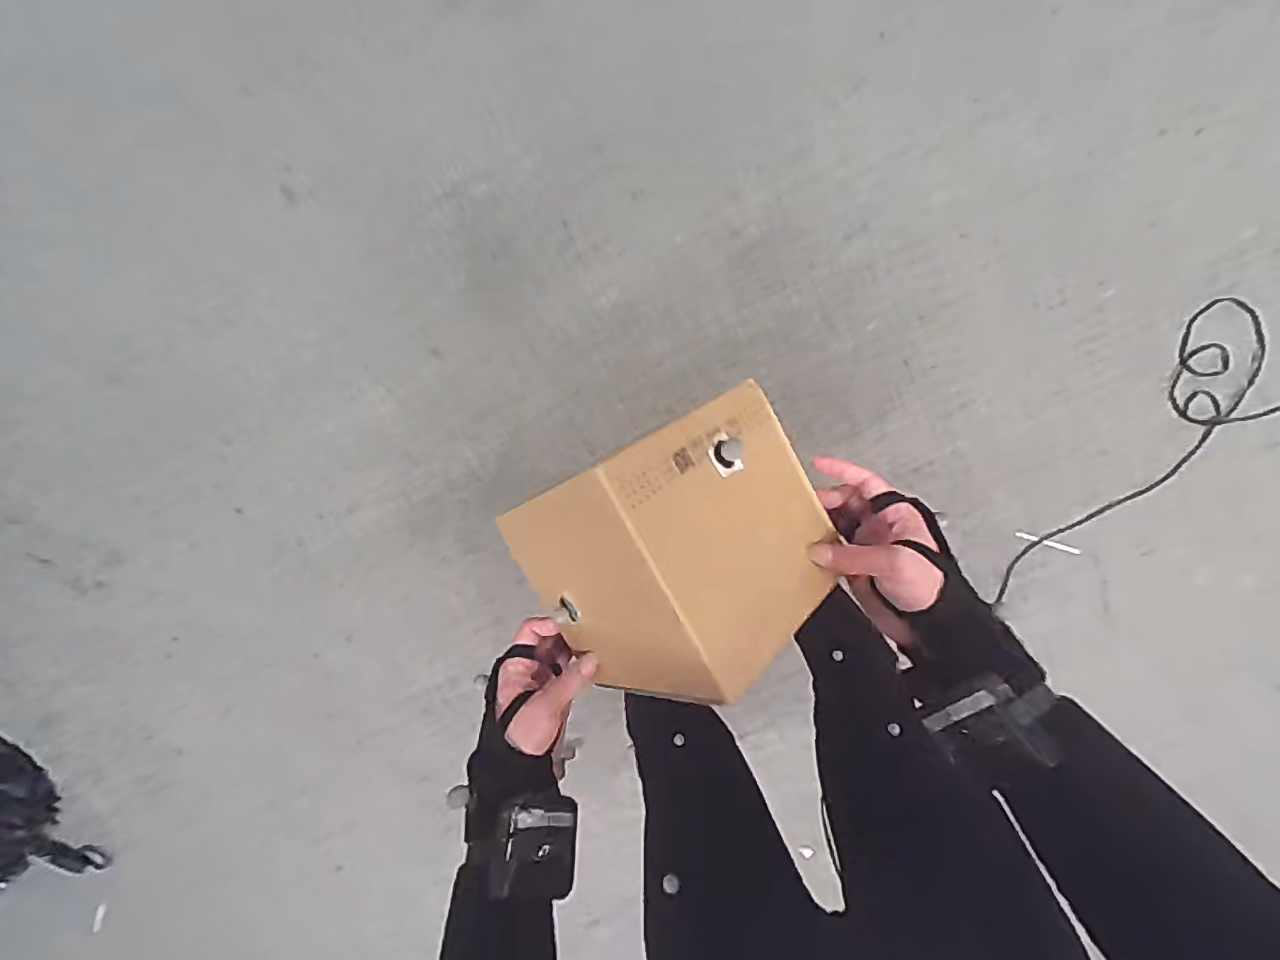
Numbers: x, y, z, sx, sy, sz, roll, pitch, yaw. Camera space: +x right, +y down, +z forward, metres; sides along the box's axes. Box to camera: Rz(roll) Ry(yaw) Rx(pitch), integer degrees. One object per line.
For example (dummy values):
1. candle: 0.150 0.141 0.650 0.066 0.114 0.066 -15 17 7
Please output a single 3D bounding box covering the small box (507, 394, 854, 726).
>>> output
1. small box: 0.023 0.054 0.419 0.168 0.179 0.176 -34 97 -36
